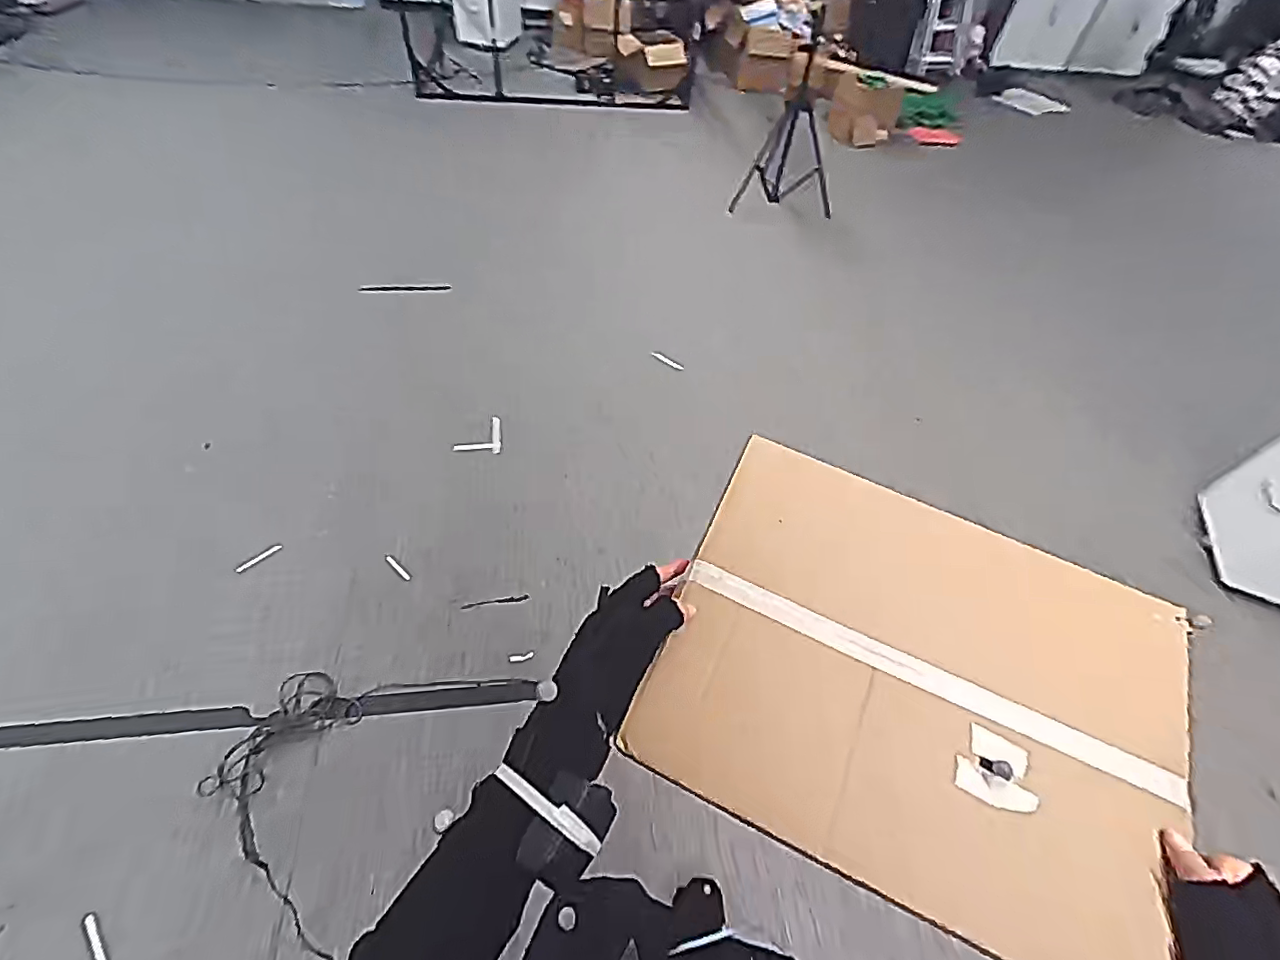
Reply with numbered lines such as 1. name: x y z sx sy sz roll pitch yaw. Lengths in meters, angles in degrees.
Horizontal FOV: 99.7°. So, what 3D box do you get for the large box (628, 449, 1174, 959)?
1. large box: 0.228 0.229 0.589 0.408 0.320 0.320 24 66 10
